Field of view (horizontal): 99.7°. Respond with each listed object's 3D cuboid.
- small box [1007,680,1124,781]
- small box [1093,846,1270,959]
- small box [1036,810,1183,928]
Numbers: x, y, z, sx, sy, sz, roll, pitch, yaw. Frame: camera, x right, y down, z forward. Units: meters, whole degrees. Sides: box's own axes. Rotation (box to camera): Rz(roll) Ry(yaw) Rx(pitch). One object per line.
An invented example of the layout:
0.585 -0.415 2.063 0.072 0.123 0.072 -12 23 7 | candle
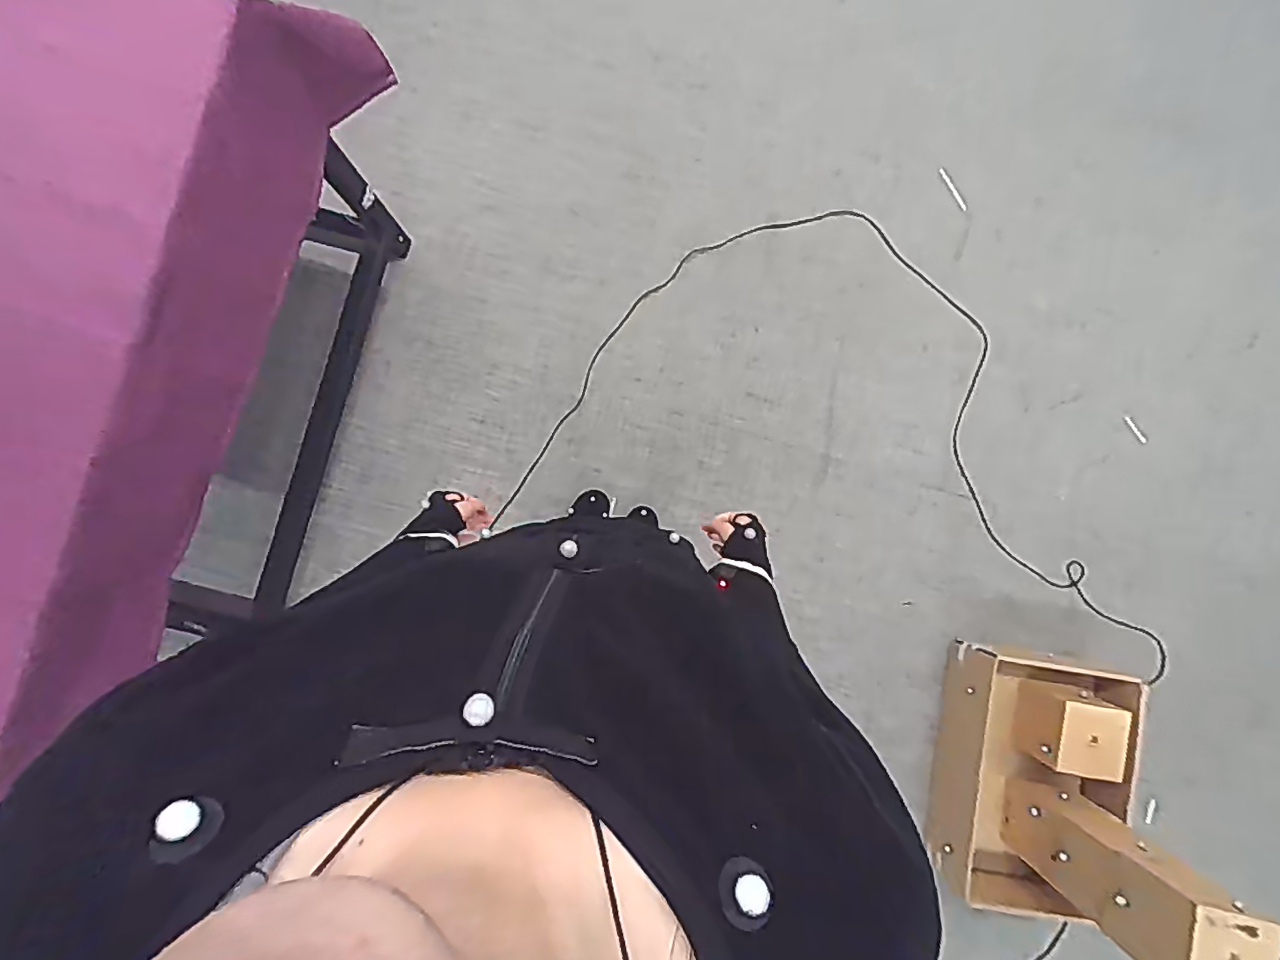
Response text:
1.098 0.643 1.409 0.168 0.176 0.179 10 89 0 | small box
1.054 0.880 1.069 0.168 0.176 0.179 16 87 -1 | small box
1.062 0.891 1.235 0.179 0.176 0.168 12 87 -1 | small box
